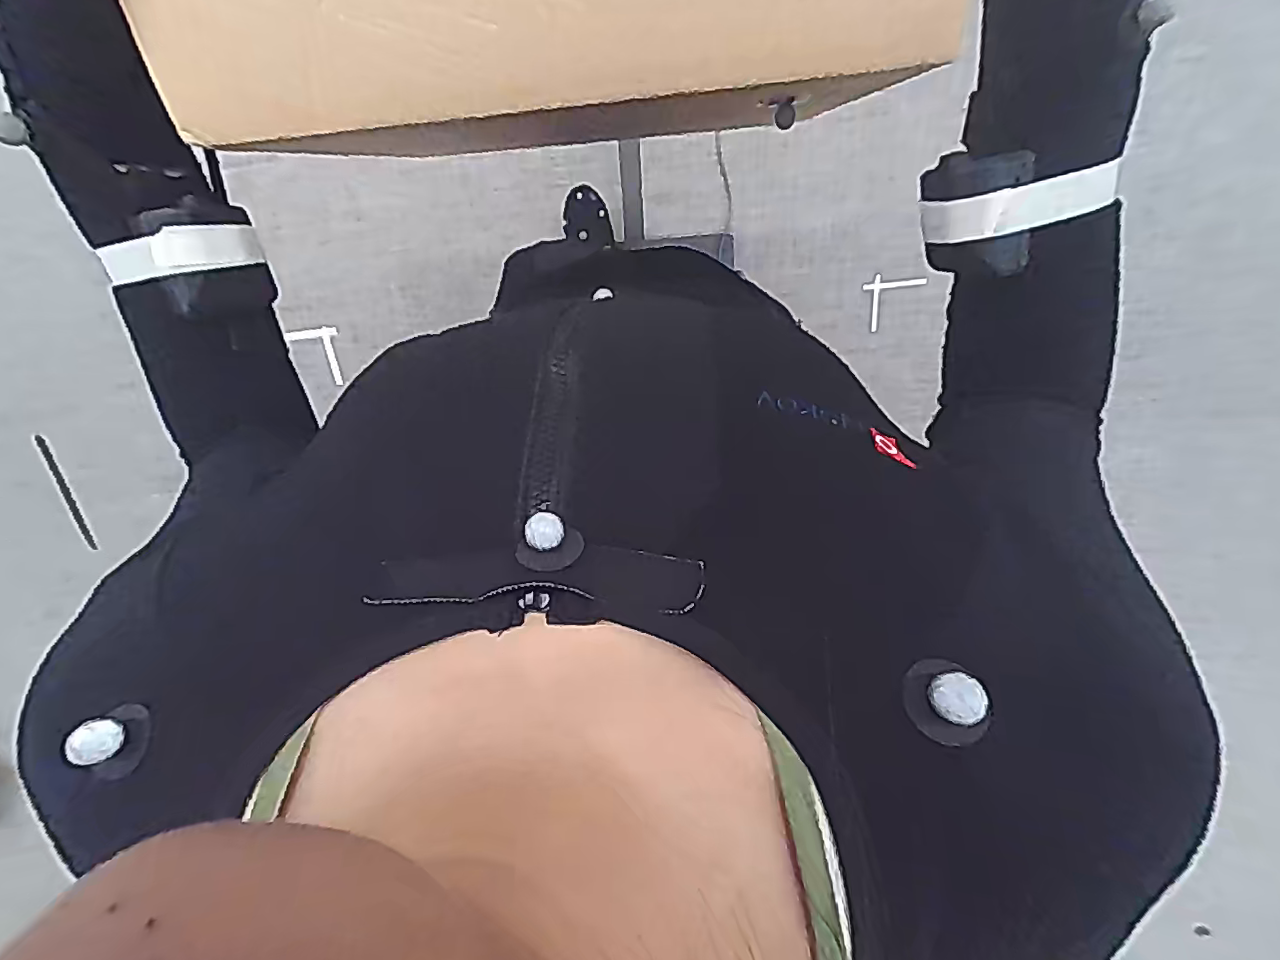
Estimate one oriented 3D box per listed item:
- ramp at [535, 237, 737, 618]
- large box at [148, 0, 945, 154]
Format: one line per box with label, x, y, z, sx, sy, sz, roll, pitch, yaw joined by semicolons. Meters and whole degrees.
ramp;0.000;-0.104;1.449;0.509;0.206;0.991;-4;110;5
large box;-0.053;-0.408;0.344;0.408;0.320;0.320;-3;119;4
